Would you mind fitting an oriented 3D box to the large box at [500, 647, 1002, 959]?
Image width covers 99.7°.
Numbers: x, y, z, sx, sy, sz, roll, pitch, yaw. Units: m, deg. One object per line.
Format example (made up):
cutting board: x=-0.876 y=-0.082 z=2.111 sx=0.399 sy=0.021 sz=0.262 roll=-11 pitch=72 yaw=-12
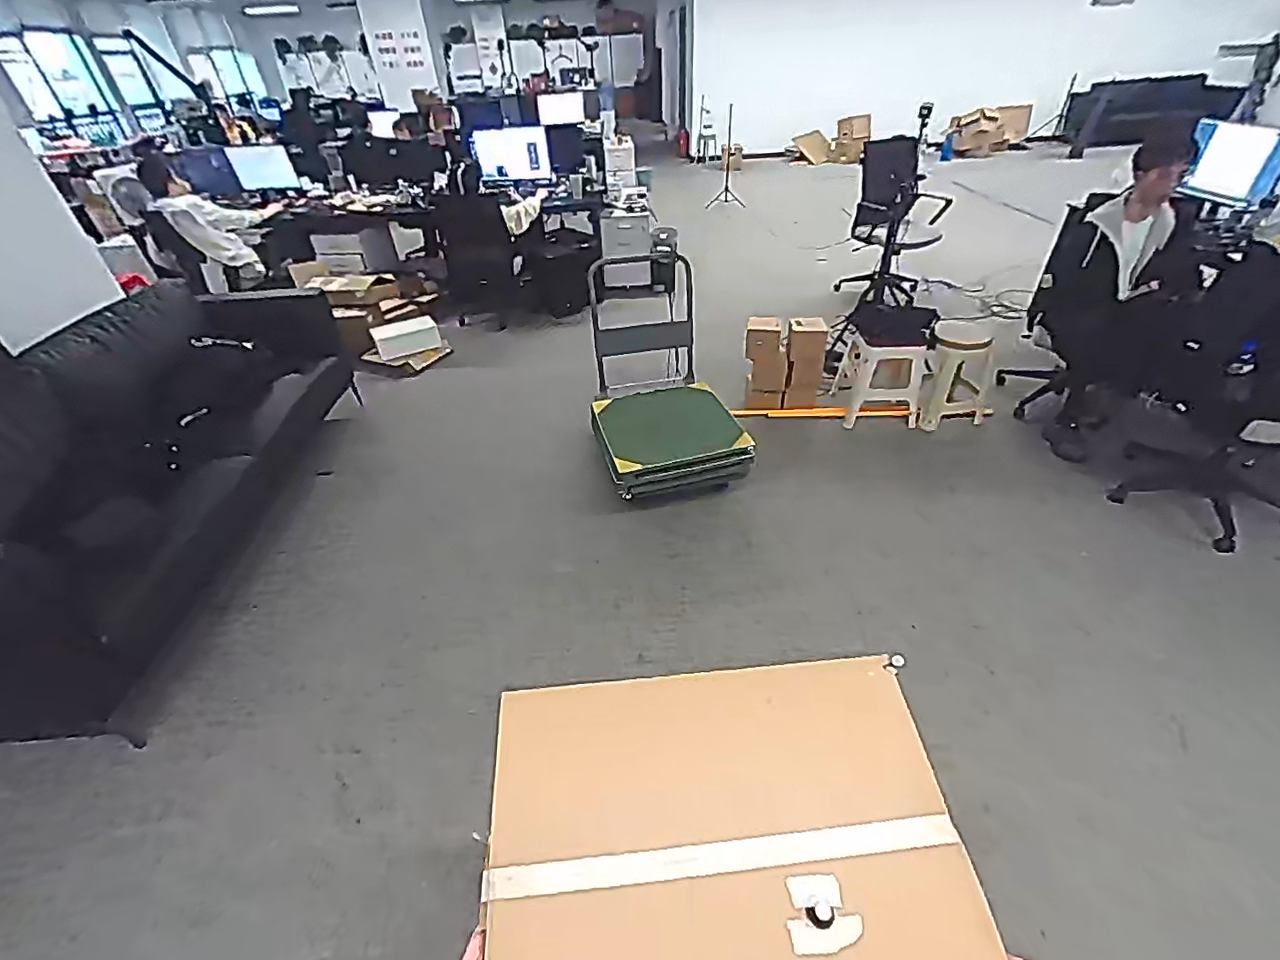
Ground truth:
large box: x=0.077 y=0.412 z=0.593 sx=0.408 sy=0.320 sz=0.320 roll=-5 pitch=53 yaw=-4
